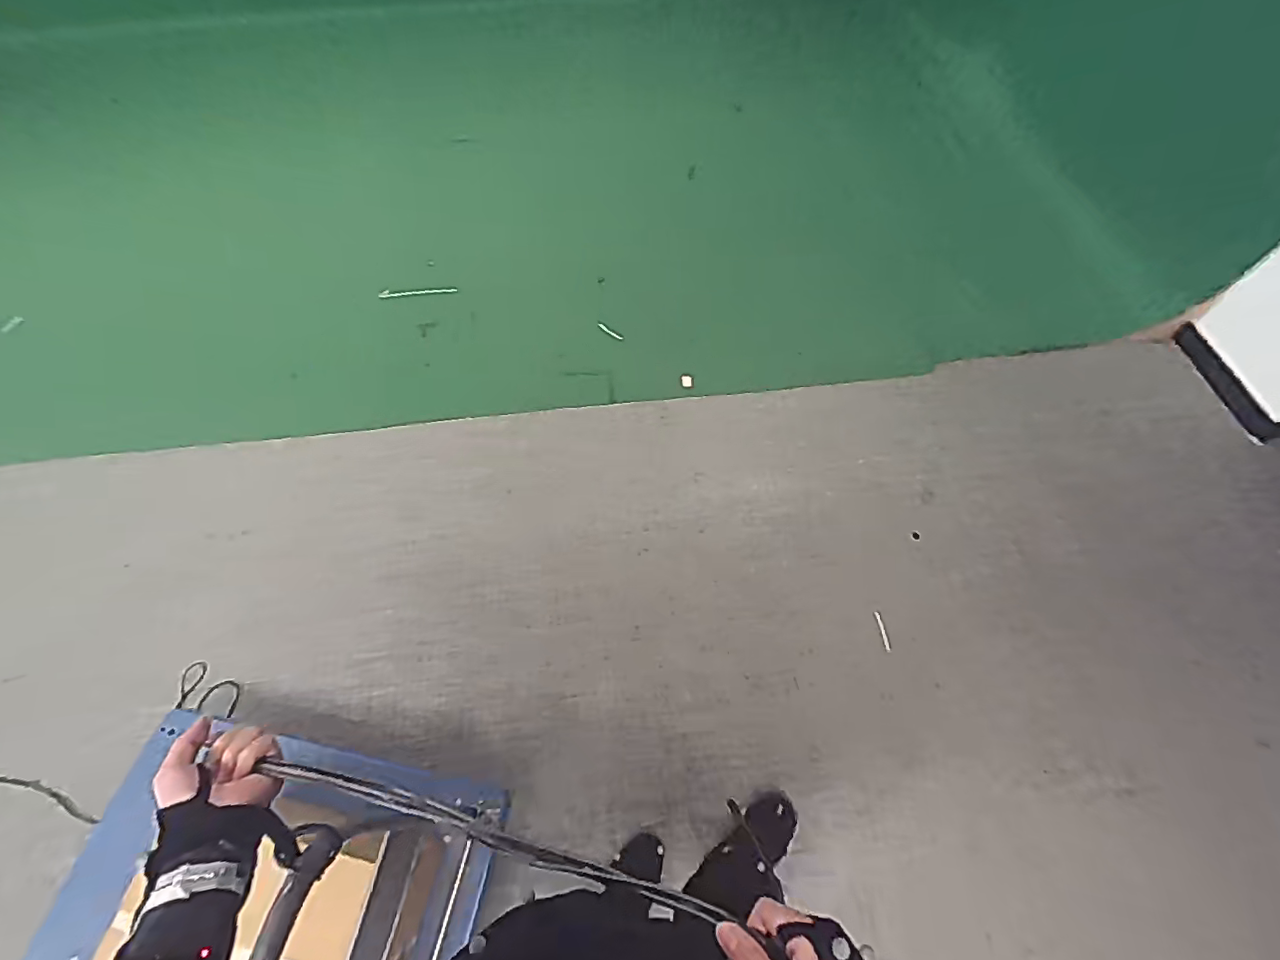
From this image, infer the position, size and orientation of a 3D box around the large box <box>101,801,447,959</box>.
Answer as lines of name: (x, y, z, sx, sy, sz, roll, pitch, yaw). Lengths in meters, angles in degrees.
large box: (-0.633, 0.806, 0.983, 0.408, 0.320, 0.320, 9, 62, 7)
